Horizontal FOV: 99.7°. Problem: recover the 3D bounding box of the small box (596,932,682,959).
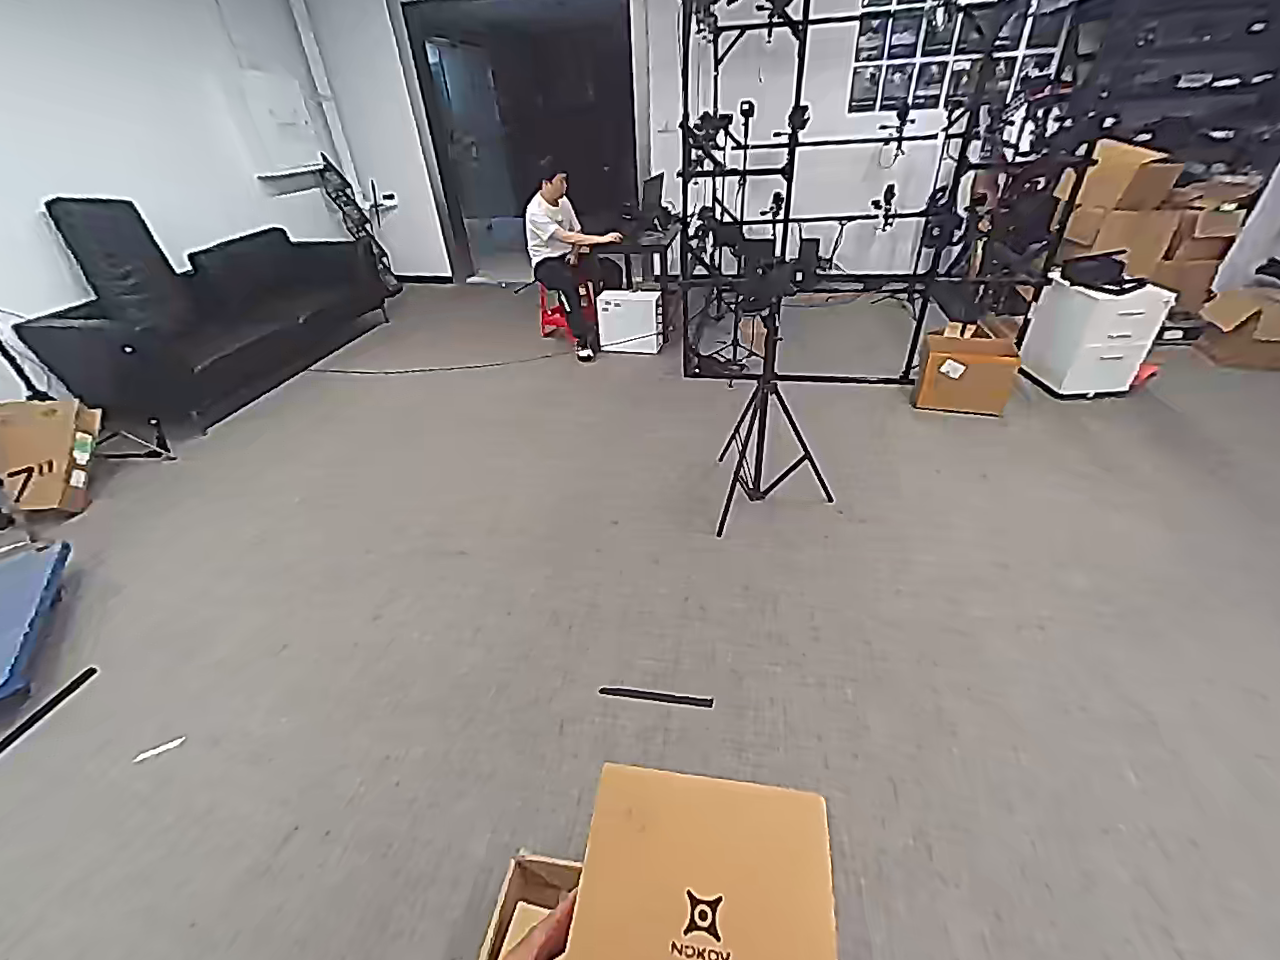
[{"bbox_3d":[-0.004,1.008,1.033,0.168,0.176,0.179,1,35,6],"label":"small box"}]
